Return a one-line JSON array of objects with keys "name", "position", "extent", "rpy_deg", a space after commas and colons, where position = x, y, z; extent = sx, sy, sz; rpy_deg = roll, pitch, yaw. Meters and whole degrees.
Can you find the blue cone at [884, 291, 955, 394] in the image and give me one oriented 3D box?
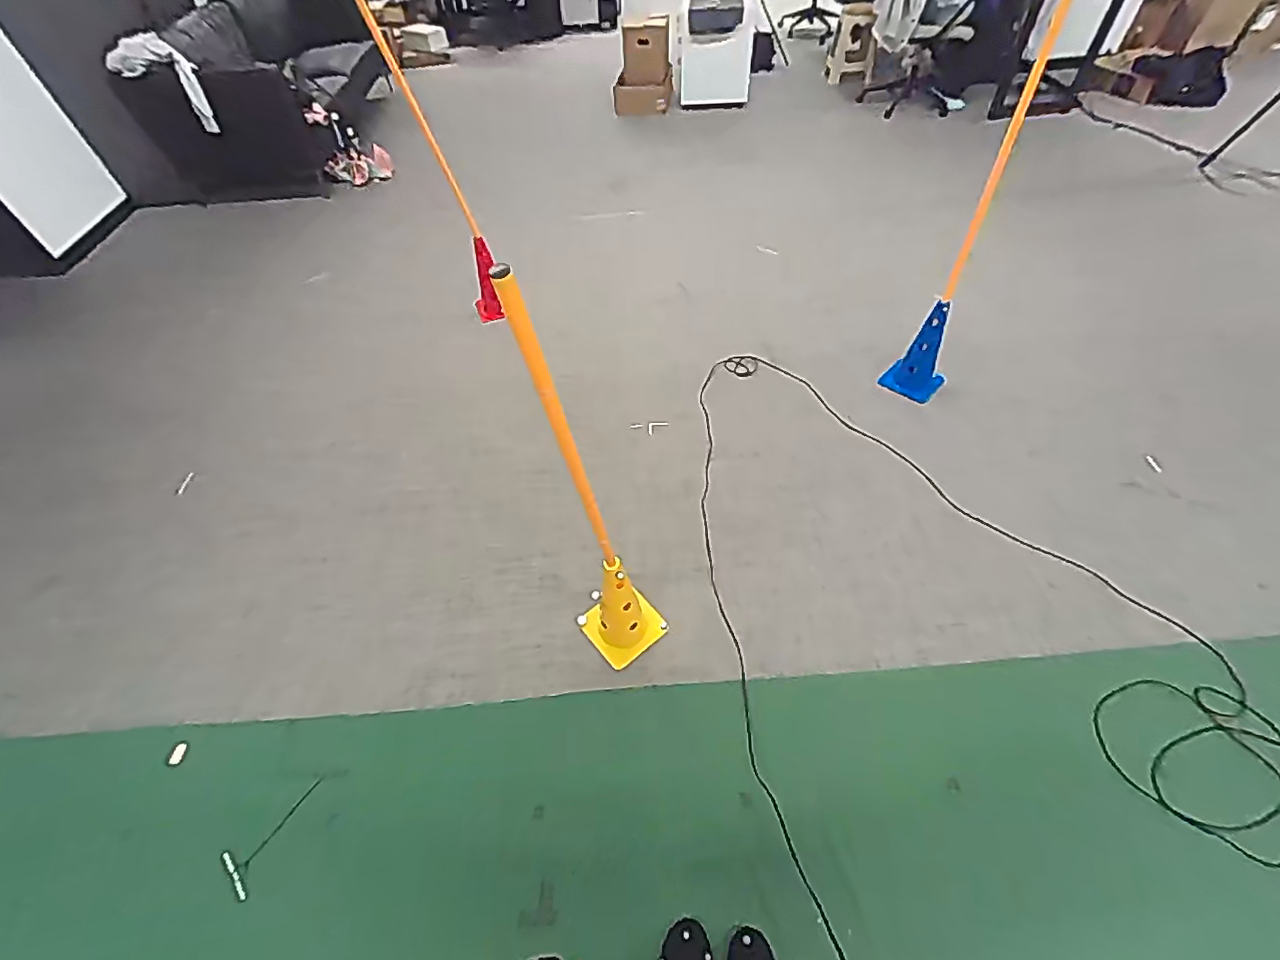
[{"name": "blue cone", "position": [1.073, -0.526, 2.014], "extent": [0.192, 0.380, 0.193], "rpy_deg": [33, 59, 27]}]
